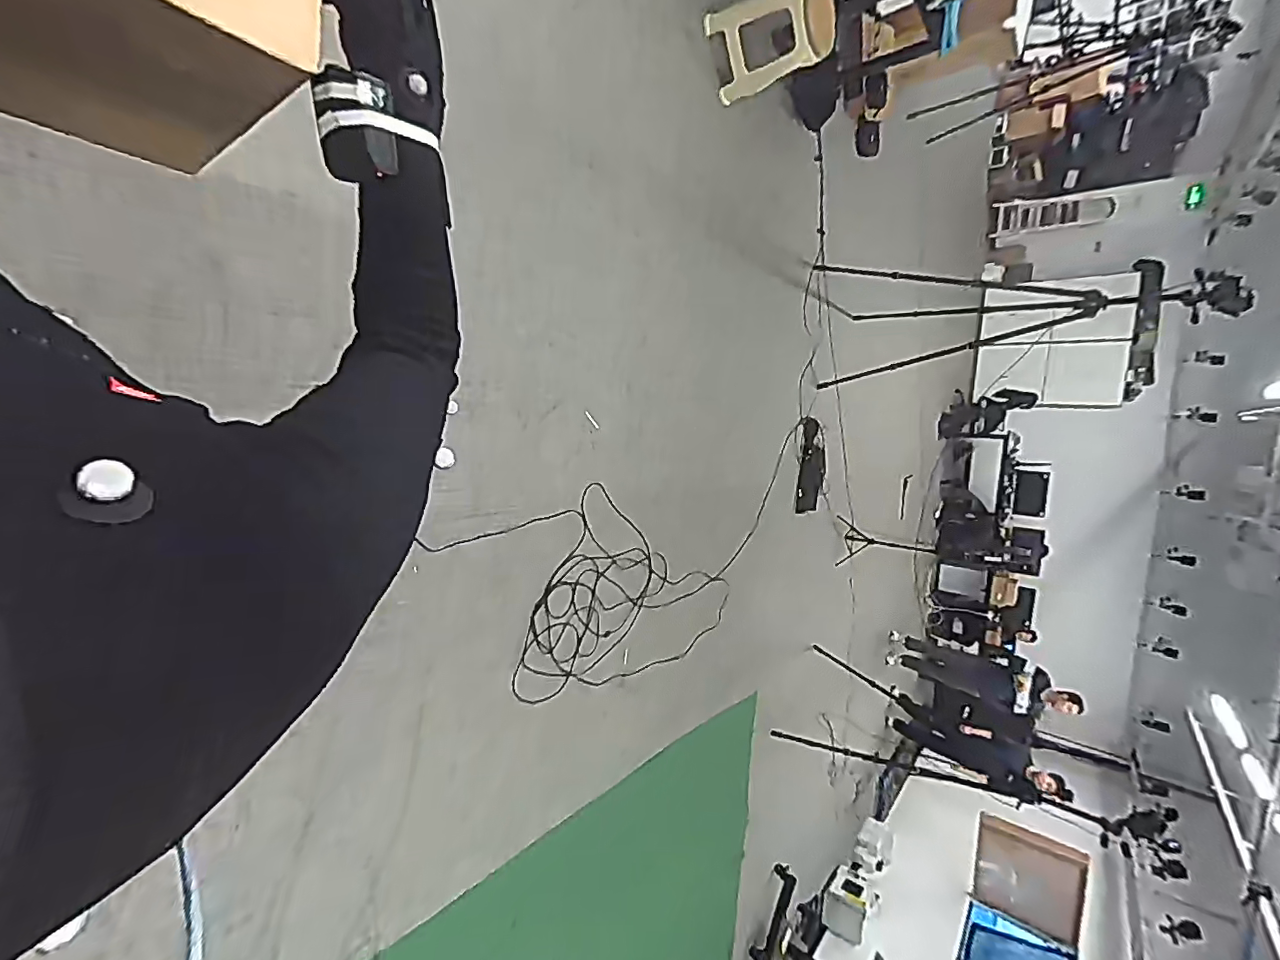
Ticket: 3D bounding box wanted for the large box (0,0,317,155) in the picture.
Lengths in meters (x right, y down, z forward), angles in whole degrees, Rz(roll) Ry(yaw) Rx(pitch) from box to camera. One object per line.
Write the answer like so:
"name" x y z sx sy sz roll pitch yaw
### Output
"large box" -0.449 -0.448 0.288 0.408 0.320 0.320 -3 101 -51
